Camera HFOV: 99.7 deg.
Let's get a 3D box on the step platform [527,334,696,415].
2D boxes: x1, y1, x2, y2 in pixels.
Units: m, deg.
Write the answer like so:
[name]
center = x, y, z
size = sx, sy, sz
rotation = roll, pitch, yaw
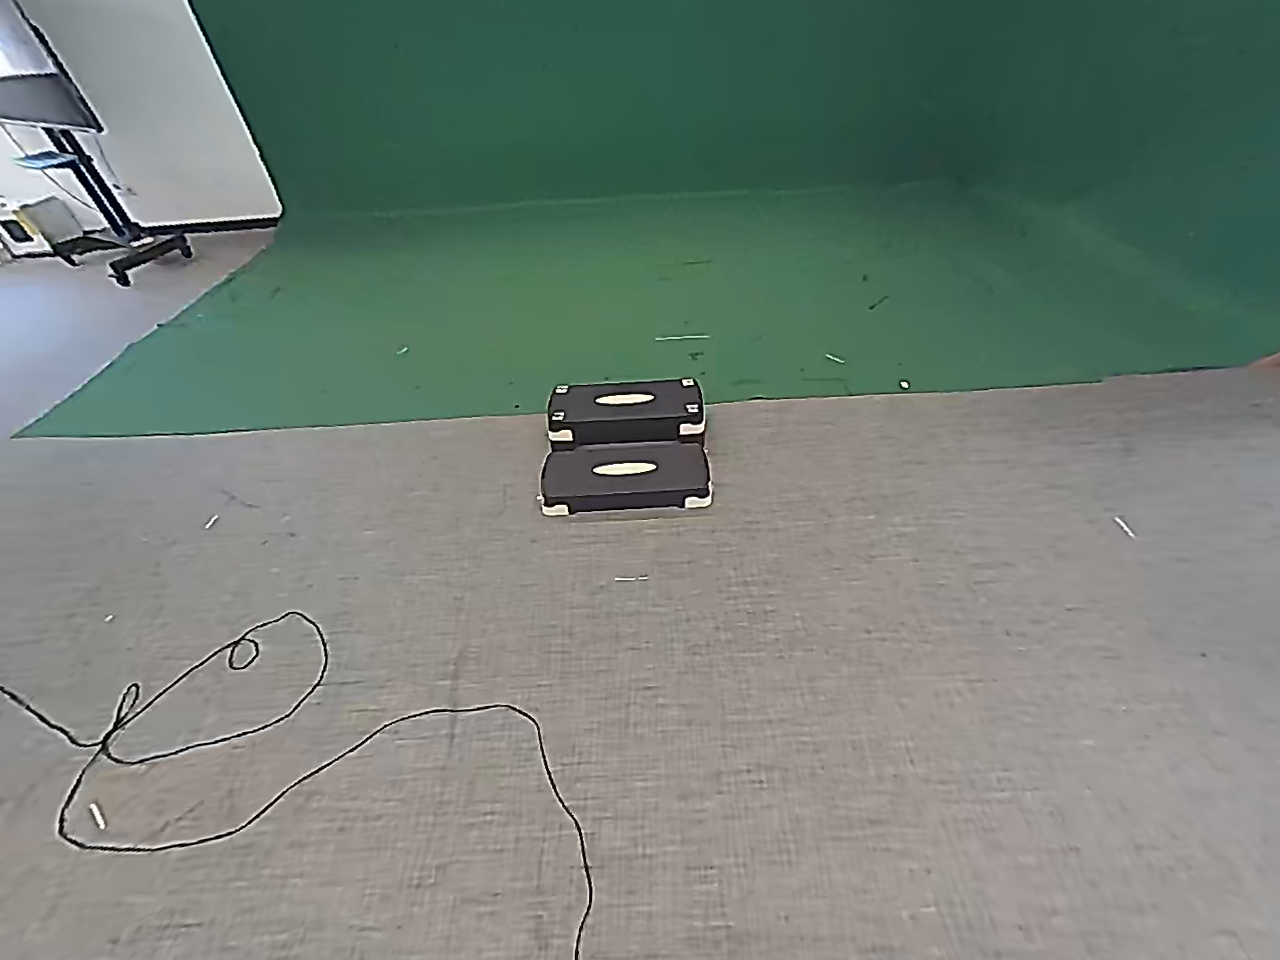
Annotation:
[step platform]
center = -0.111, -0.440, 2.257
size = 0.684, 0.204, 0.286
rotation = -4, 43, 2
